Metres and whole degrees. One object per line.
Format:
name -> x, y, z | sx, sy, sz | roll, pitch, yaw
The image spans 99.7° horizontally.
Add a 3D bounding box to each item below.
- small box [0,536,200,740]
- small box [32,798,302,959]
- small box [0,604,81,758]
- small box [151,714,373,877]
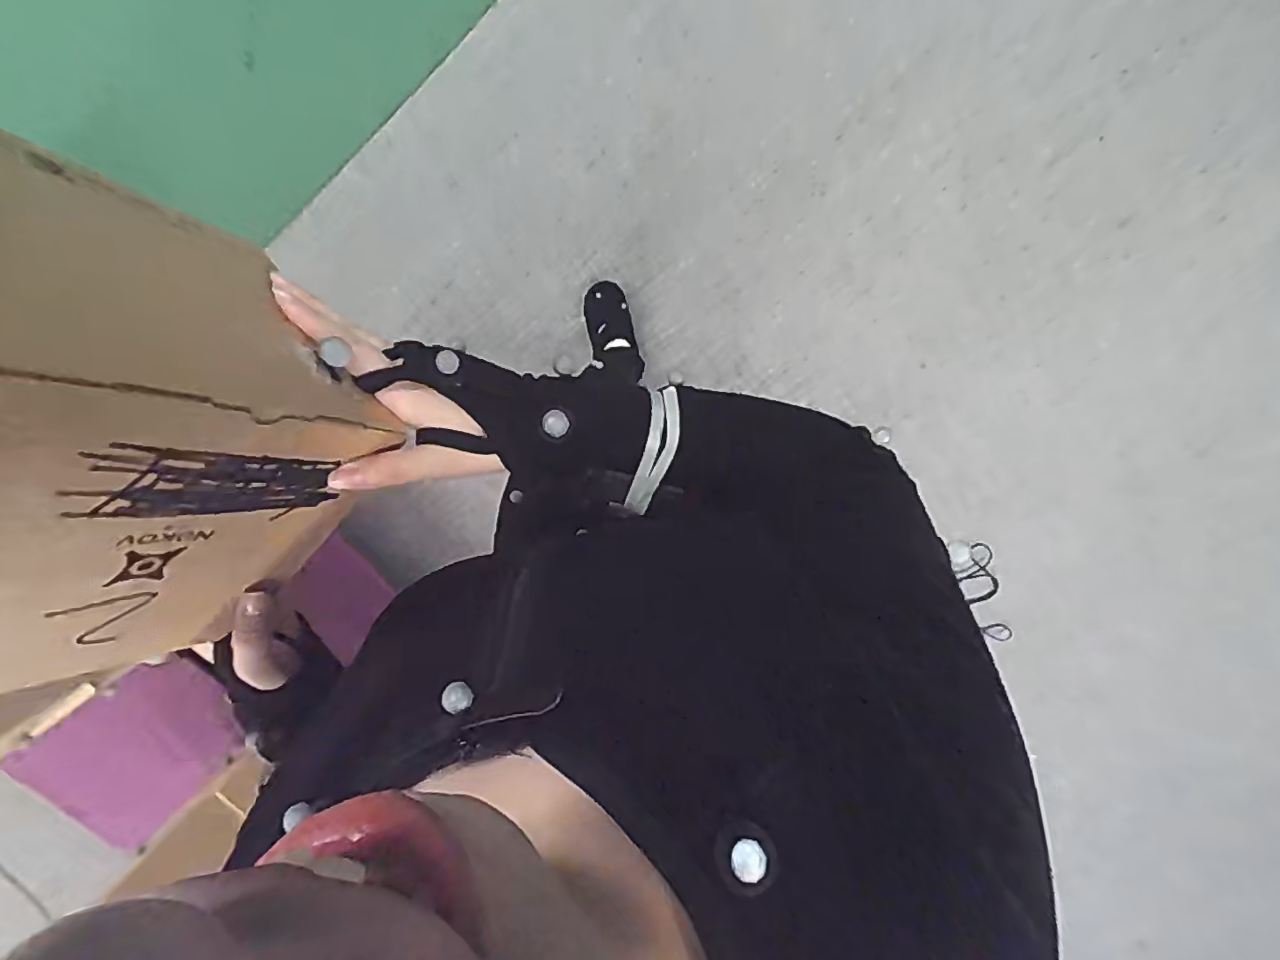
small box -> -0.777, 0.208, 0.746 | 0.168, 0.176, 0.179 | -33, 103, 12
small box -> -0.572, 0.543, 0.666 | 0.168, 0.176, 0.179 | -39, 101, 14
small box -> -0.789, 0.256, 0.589 | 0.179, 0.176, 0.168 | -37, 102, 13
small box -> -0.557, 0.490, 0.822 | 0.168, 0.176, 0.179 | -36, 102, 14
